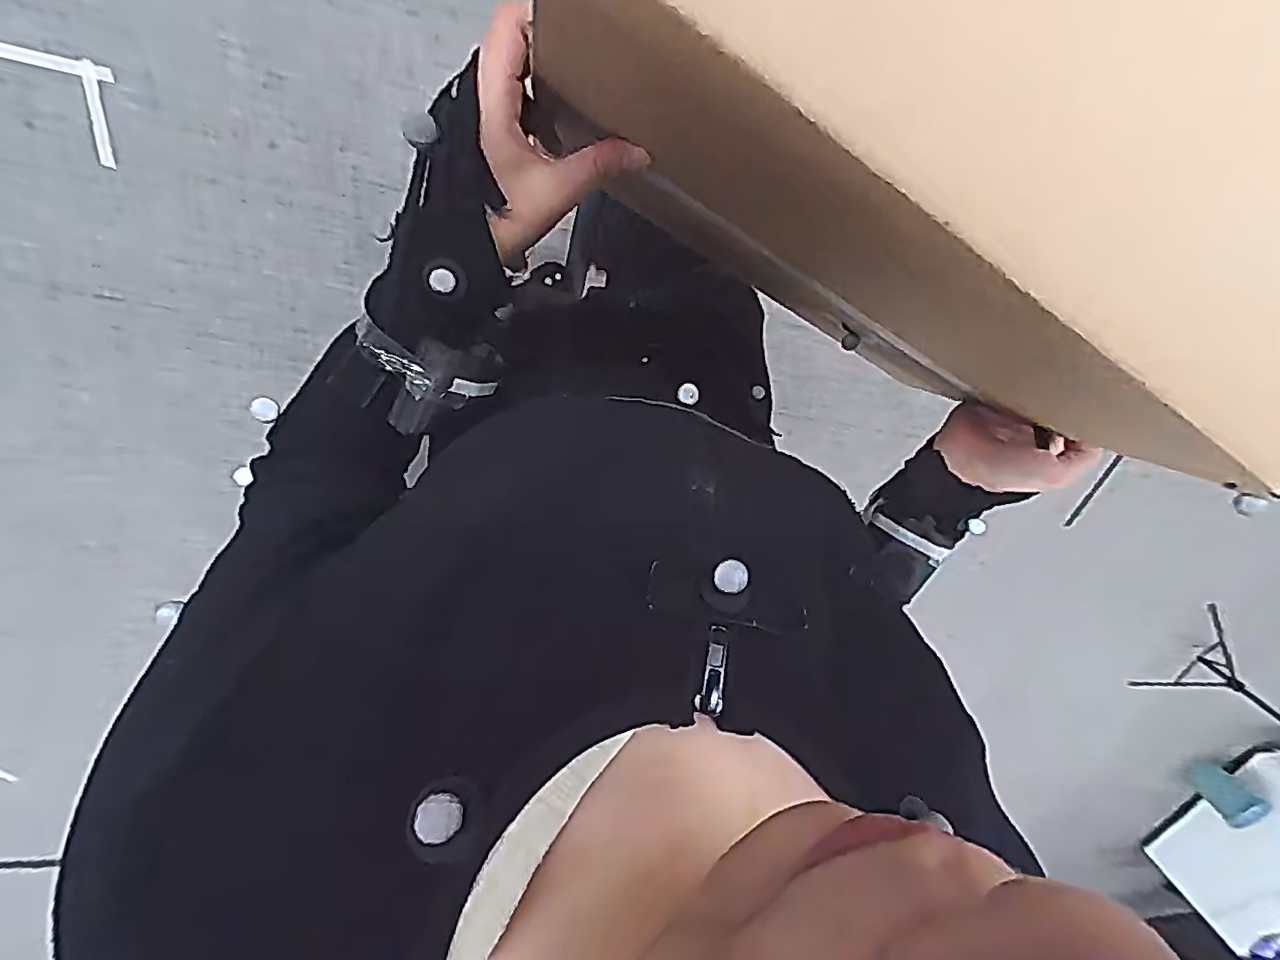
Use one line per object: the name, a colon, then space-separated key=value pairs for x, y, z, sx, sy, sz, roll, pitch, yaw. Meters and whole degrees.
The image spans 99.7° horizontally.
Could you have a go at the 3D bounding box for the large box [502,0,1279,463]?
large box: x=0.175 y=-0.263 z=0.295 sx=0.408 sy=0.320 sz=0.320 roll=23 pitch=107 yaw=-18
